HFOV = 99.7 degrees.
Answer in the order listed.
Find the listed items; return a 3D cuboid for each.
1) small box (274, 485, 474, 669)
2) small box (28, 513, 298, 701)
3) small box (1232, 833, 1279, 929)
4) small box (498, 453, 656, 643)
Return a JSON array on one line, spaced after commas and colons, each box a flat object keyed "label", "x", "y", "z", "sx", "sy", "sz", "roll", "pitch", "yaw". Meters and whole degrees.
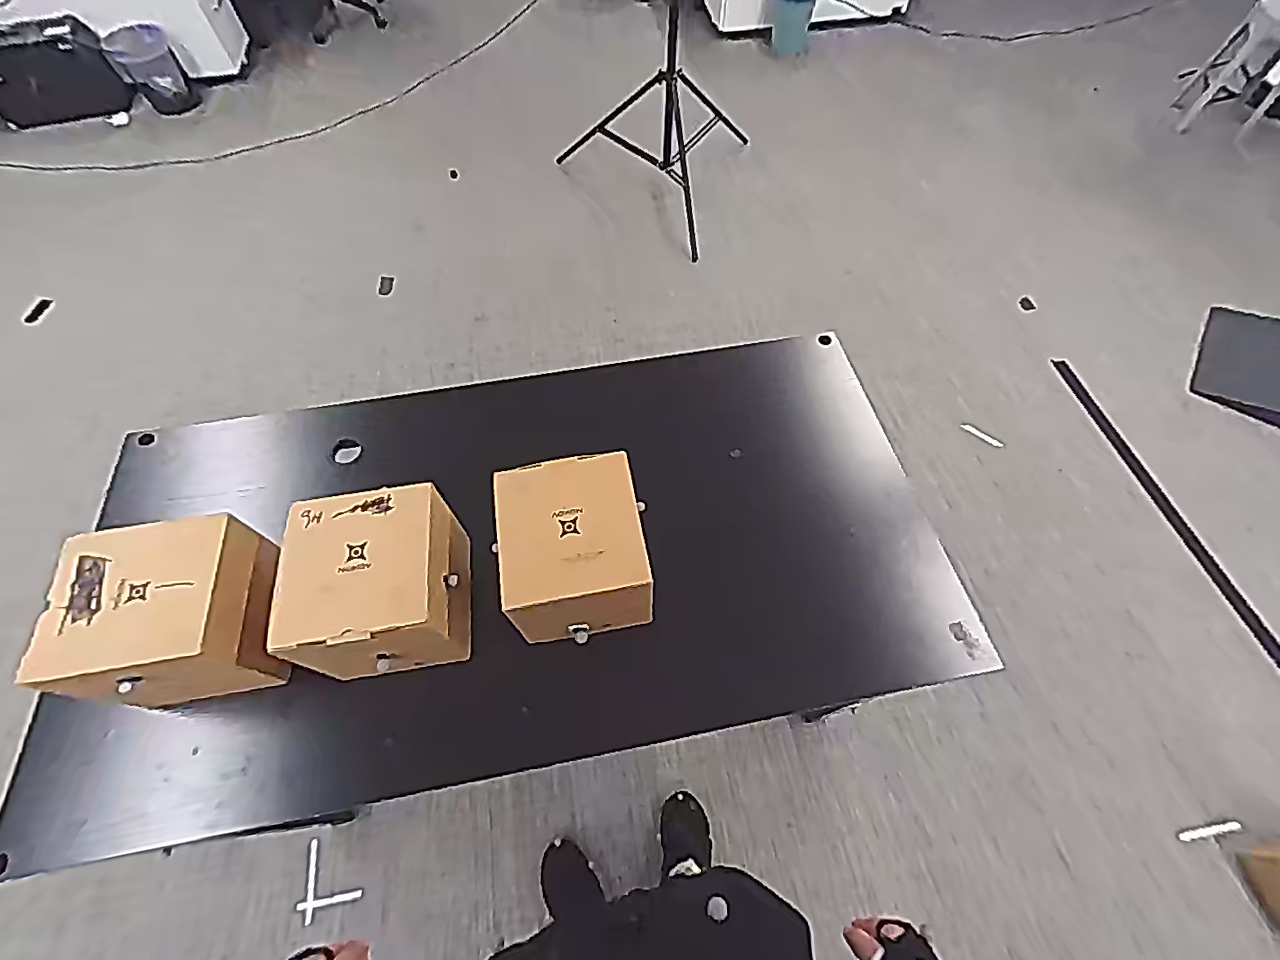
[{"label": "small box", "x": -0.311, "y": 0.130, "z": 0.673, "sx": 0.168, "sy": 0.176, "sz": 0.179, "roll": -8, "pitch": 61, "yaw": -4}, {"label": "small box", "x": -0.542, "y": 0.160, "z": 0.656, "sx": 0.179, "sy": 0.176, "sz": 0.168, "roll": -9, "pitch": 61, "yaw": -6}, {"label": "small box", "x": 1.407, "y": 0.840, "z": 1.102, "sx": 0.168, "sy": 0.176, "sz": 0.179, "roll": -10, "pitch": 61, "yaw": -6}, {"label": "small box", "x": -0.078, "y": 0.092, "z": 0.697, "sx": 0.168, "sy": 0.176, "sz": 0.179, "roll": -11, "pitch": 62, "yaw": -4}]
